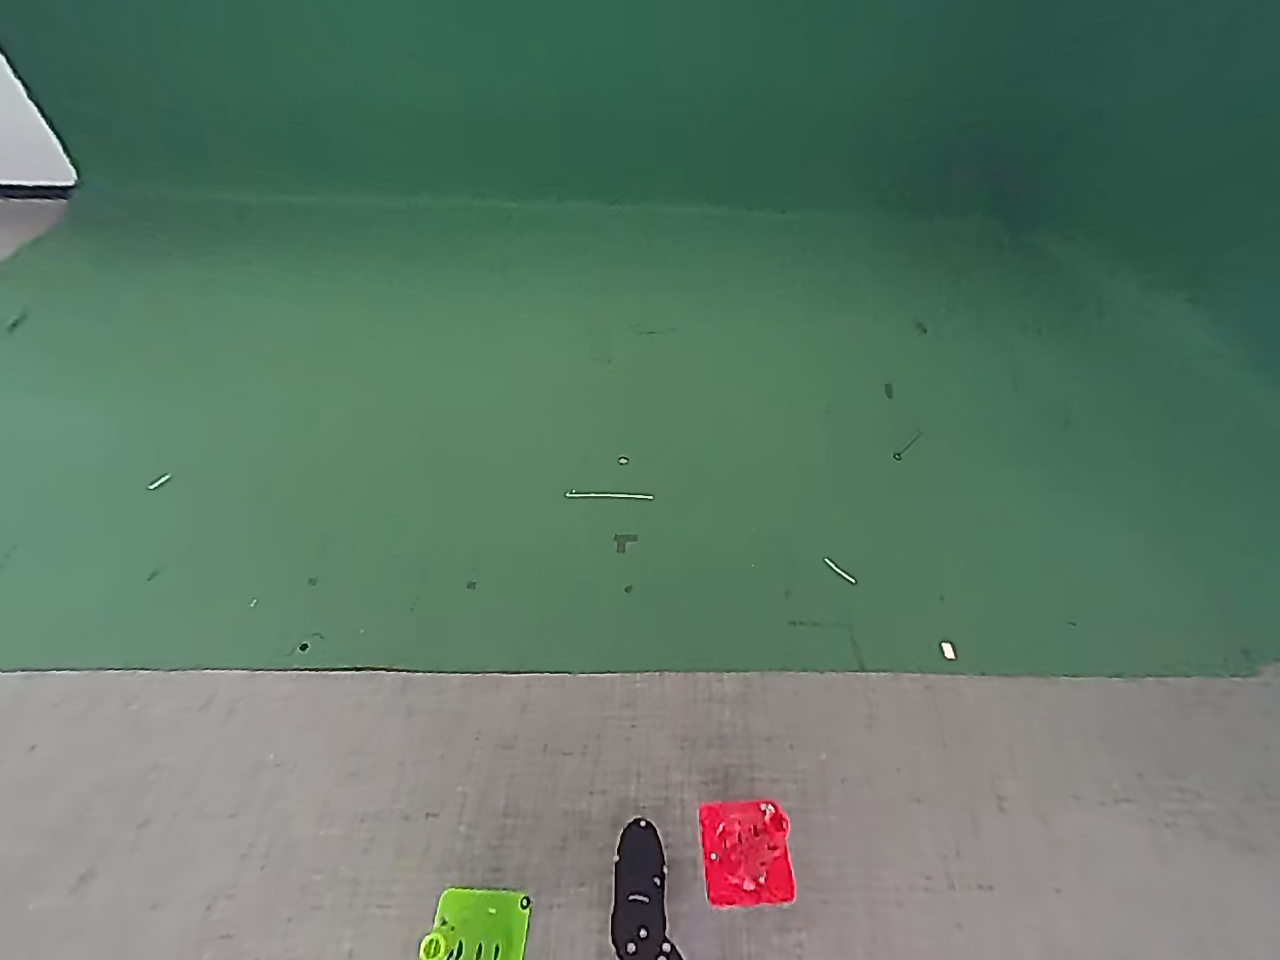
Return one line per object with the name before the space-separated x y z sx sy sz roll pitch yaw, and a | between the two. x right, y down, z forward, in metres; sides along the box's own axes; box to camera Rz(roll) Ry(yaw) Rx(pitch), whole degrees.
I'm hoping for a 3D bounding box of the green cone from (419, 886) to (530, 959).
green cone | -0.337 0.860 0.991 0.200 0.368 0.202 2 49 0
